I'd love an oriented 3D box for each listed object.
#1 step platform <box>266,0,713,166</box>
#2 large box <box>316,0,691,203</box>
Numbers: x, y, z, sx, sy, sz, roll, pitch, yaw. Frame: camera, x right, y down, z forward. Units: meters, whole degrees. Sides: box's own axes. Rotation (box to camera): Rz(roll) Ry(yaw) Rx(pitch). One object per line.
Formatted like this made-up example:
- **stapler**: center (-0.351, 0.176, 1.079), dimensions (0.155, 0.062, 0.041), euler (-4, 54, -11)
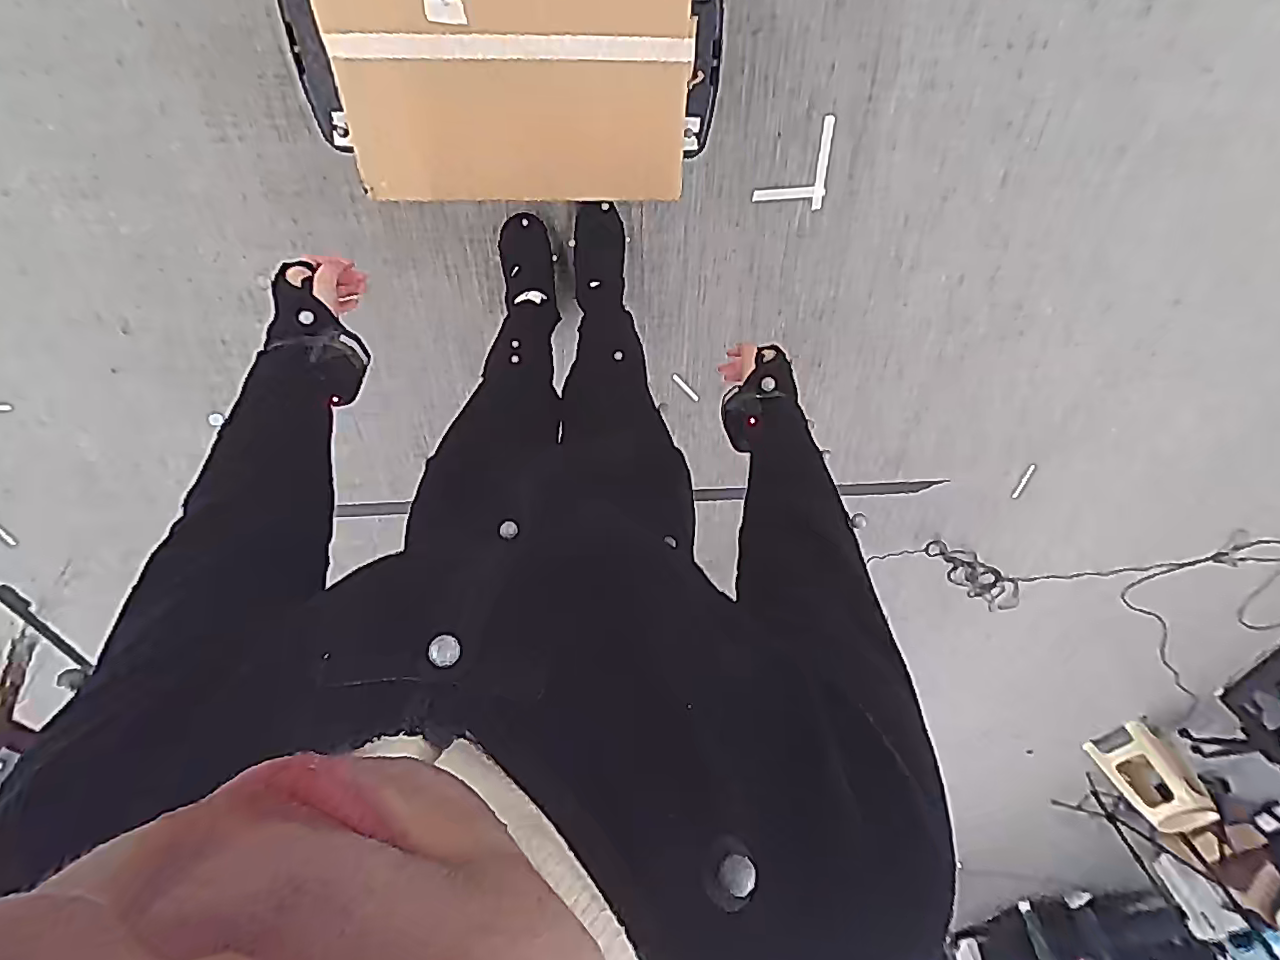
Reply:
- **step platform**: center (-0.224, -0.709, 0.905), dimensions (0.684, 0.204, 0.286), euler (2, 129, -7)
- **large box**: center (-0.150, -0.574, 0.714), dimensions (0.408, 0.320, 0.320), euler (-2, 129, -3)
